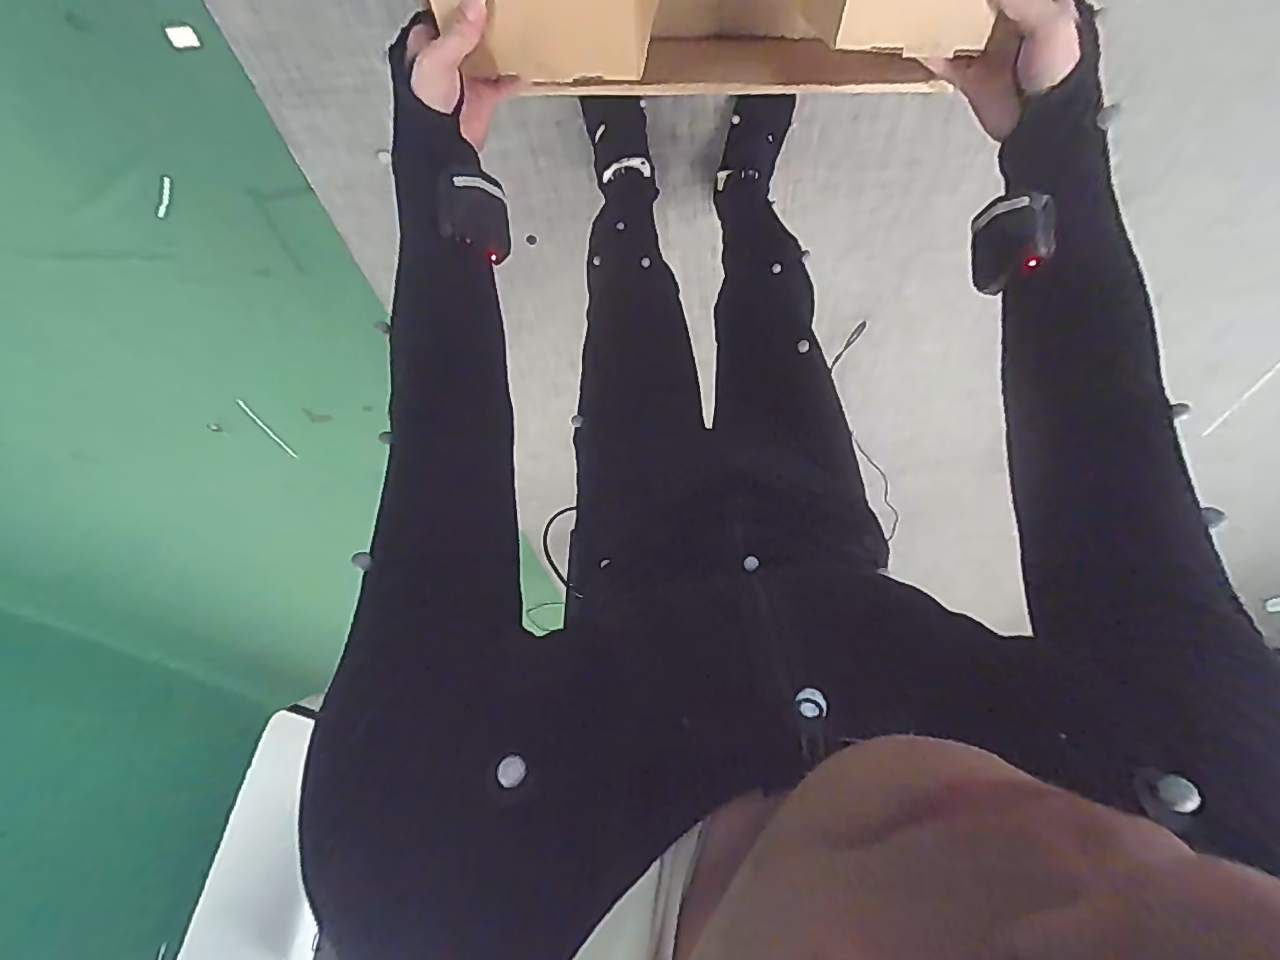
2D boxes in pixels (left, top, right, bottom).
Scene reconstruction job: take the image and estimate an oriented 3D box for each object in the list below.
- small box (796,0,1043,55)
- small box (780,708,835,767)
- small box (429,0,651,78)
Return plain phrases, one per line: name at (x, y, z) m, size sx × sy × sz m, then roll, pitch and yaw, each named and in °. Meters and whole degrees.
small box at (0.223, -0.460, 0.412) m, size 0.168 × 0.176 × 0.179 m, roll -2°, pitch 142°, yaw -5°
small box at (0.601, 0.933, 1.952) m, size 0.168 × 0.176 × 0.179 m, roll -7°, pitch 143°, yaw 10°
small box at (-0.078, -0.459, 0.428) m, size 0.168 × 0.176 × 0.179 m, roll 4°, pitch 152°, yaw 5°
